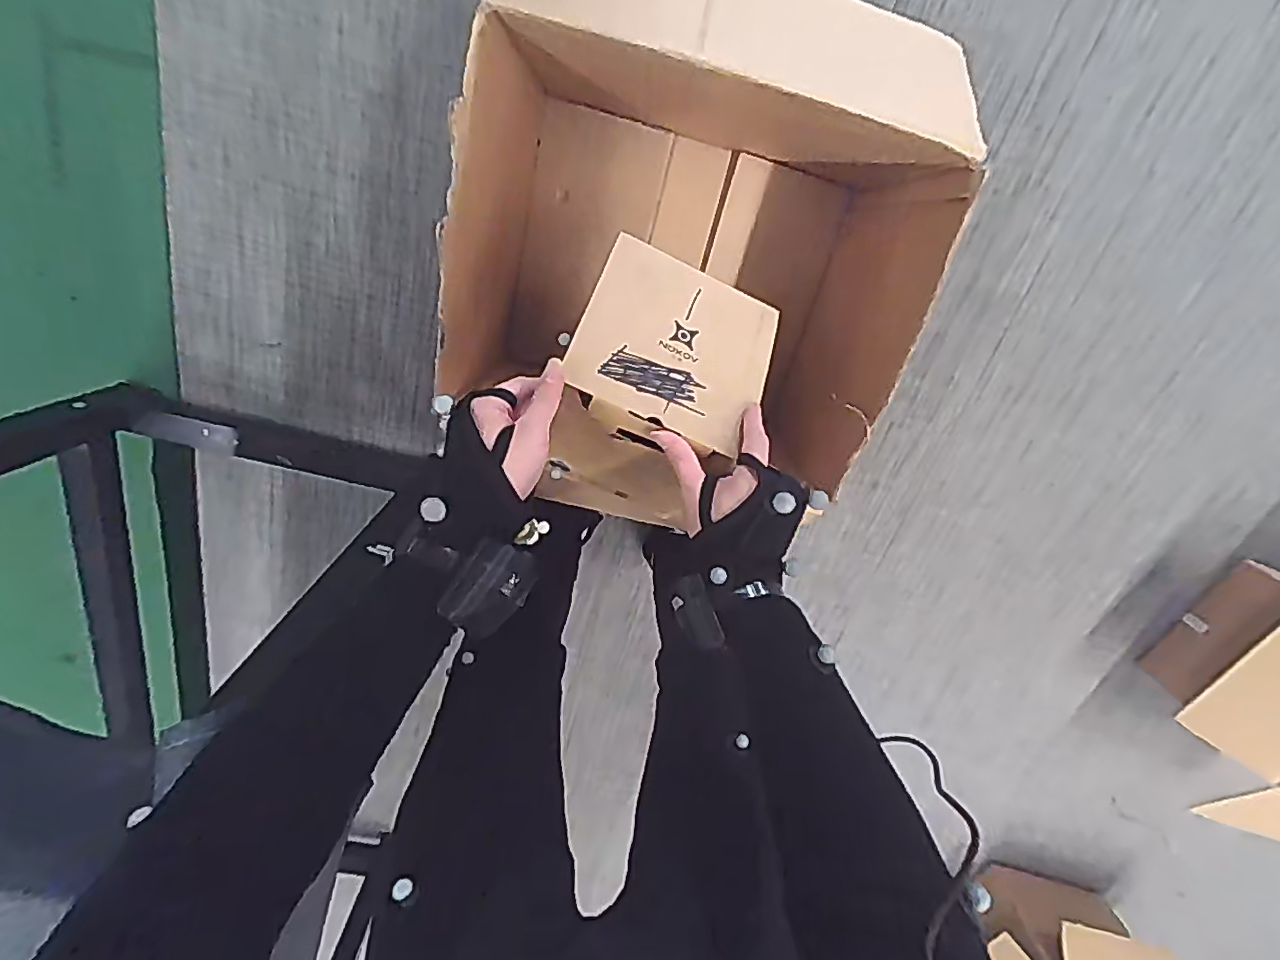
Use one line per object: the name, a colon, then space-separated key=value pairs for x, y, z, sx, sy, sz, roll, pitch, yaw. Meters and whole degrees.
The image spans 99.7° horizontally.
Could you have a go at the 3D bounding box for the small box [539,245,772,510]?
small box: x=0.006 y=-0.087 z=0.550 sx=0.168 sy=0.176 sz=0.179 roll=23 pitch=67 yaw=-10
